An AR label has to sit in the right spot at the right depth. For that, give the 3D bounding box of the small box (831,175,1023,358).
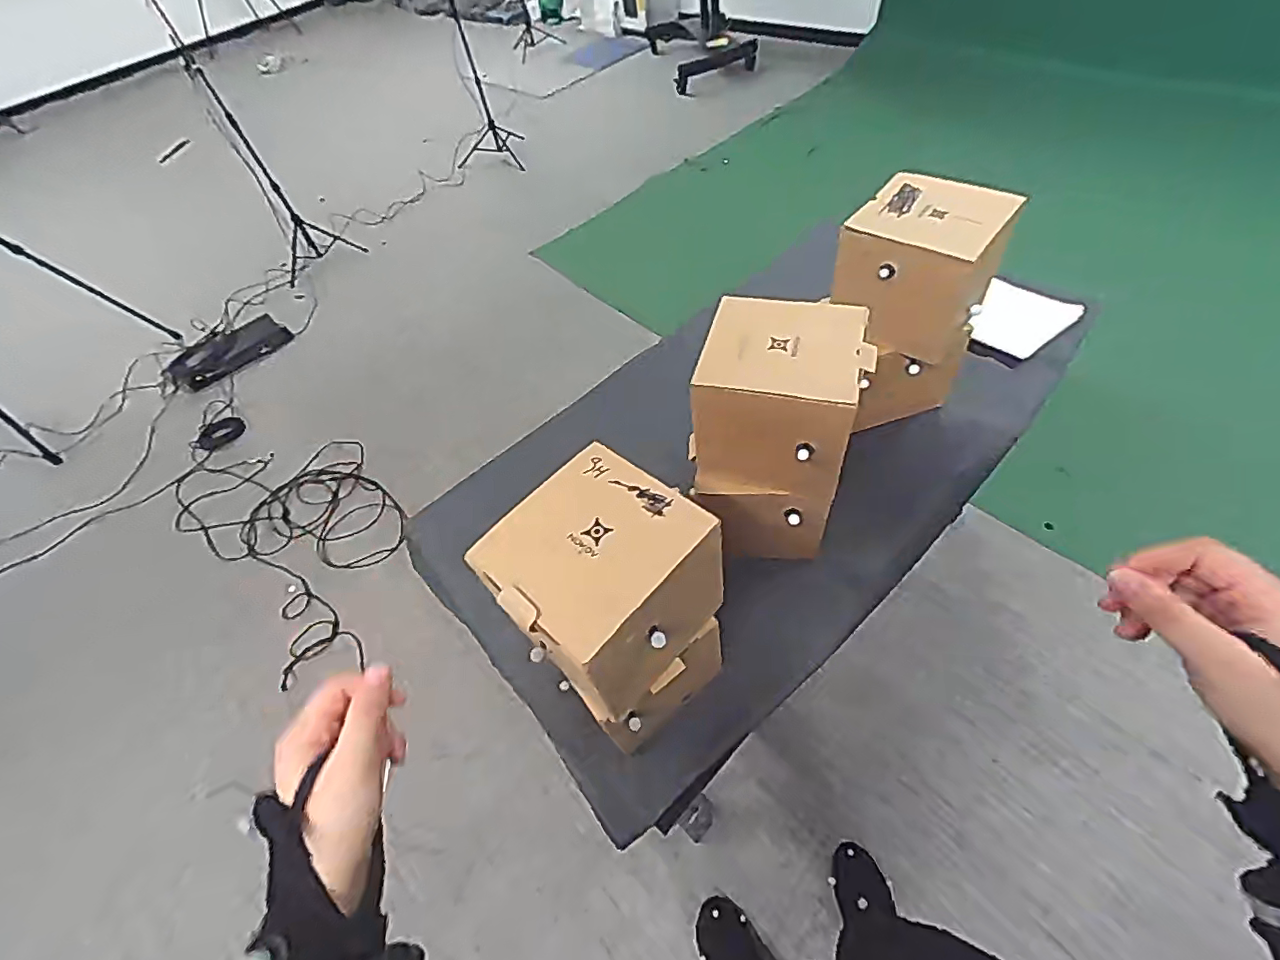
[{"bbox_3d":[0.397,-0.305,0.781,0.179,0.176,0.168,32,66,28],"label":"small box"}]

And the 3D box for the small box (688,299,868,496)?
[{"bbox_3d":[0.169,-0.098,0.668,0.179,0.176,0.168,9,55,17],"label":"small box"}]

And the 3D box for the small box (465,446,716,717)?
[{"bbox_3d":[-0.034,0.105,0.548,0.168,0.176,0.179,33,65,30],"label":"small box"}]

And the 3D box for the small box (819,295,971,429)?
[{"bbox_3d":[0.408,-0.214,0.919,0.179,0.176,0.168,-17,53,-2],"label":"small box"}]

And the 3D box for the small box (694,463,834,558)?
[{"bbox_3d":[0.174,0.005,0.795,0.179,0.176,0.168,0,53,9],"label":"small box"}]
